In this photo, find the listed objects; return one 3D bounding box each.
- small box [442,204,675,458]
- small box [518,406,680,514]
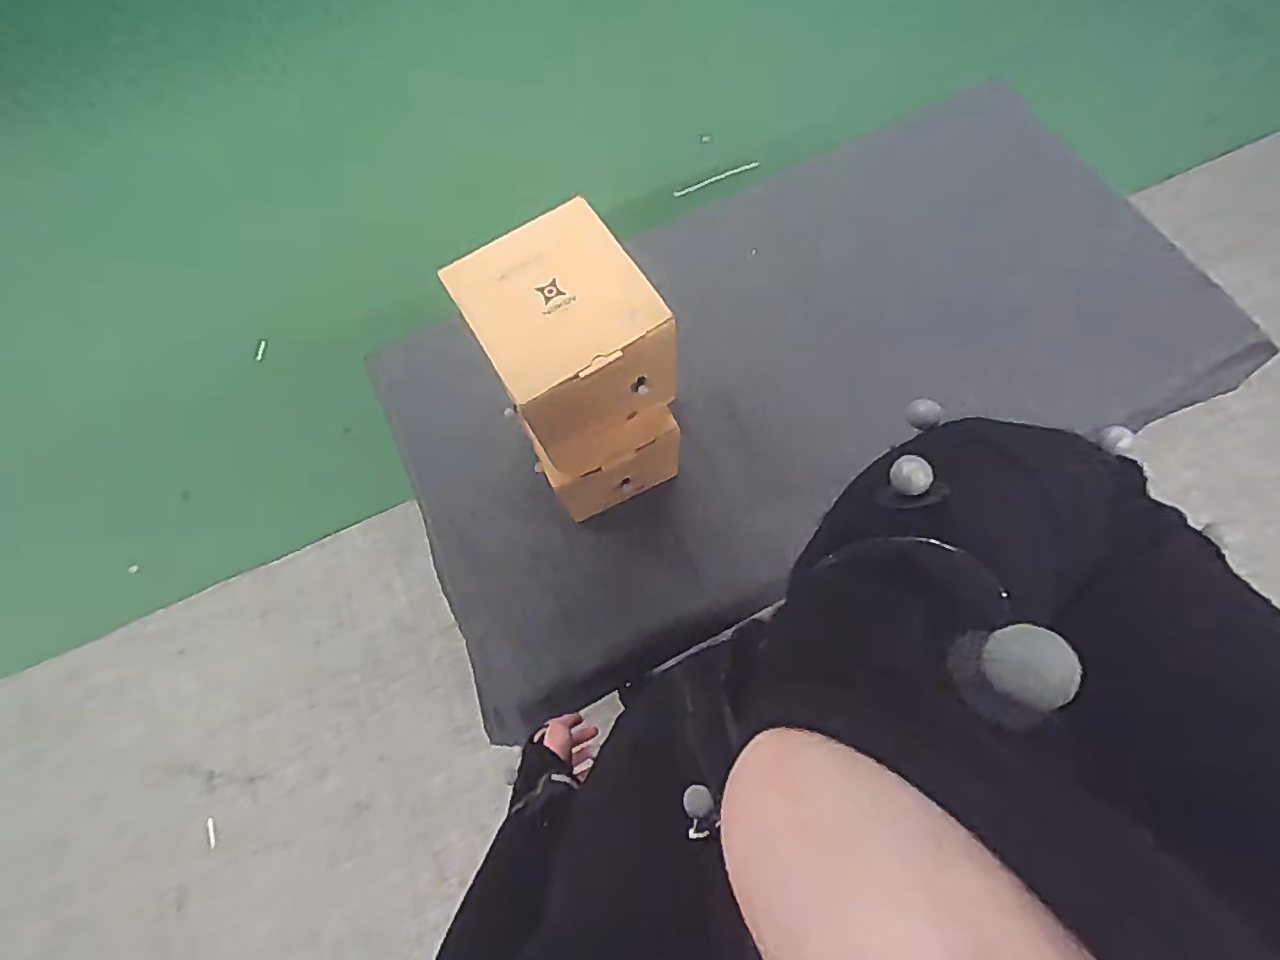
[{"bbox_3d":[-0.074,-0.143,0.581,0.168,0.176,0.179,-32,72,-8],"label":"small box"},{"bbox_3d":[-0.056,-0.068,0.727,0.168,0.176,0.179,-26,73,-6],"label":"small box"}]
